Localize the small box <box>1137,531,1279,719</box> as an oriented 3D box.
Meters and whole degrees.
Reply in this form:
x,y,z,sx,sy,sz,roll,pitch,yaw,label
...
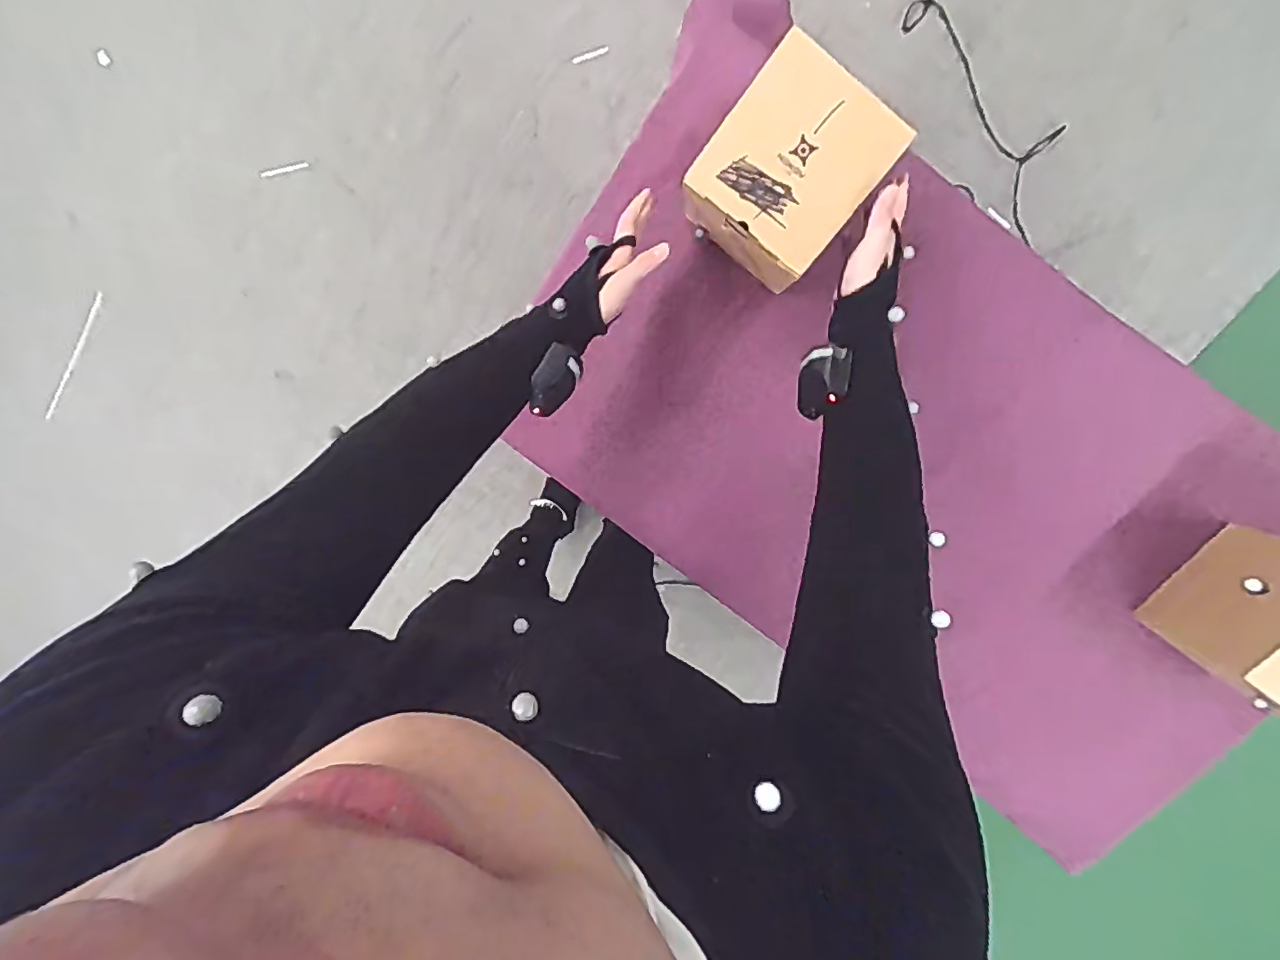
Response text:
x,y,z,sx,sy,sz,roll,pitch,yaw,label
0.810,0.190,0.686,0.168,0.176,0.179,36,102,-1,small box

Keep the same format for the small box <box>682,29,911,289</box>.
x,y,z,sx,sy,sz,roll,pitch,yaw,label
0.169,-0.350,0.636,0.168,0.176,0.179,39,103,-4,small box
